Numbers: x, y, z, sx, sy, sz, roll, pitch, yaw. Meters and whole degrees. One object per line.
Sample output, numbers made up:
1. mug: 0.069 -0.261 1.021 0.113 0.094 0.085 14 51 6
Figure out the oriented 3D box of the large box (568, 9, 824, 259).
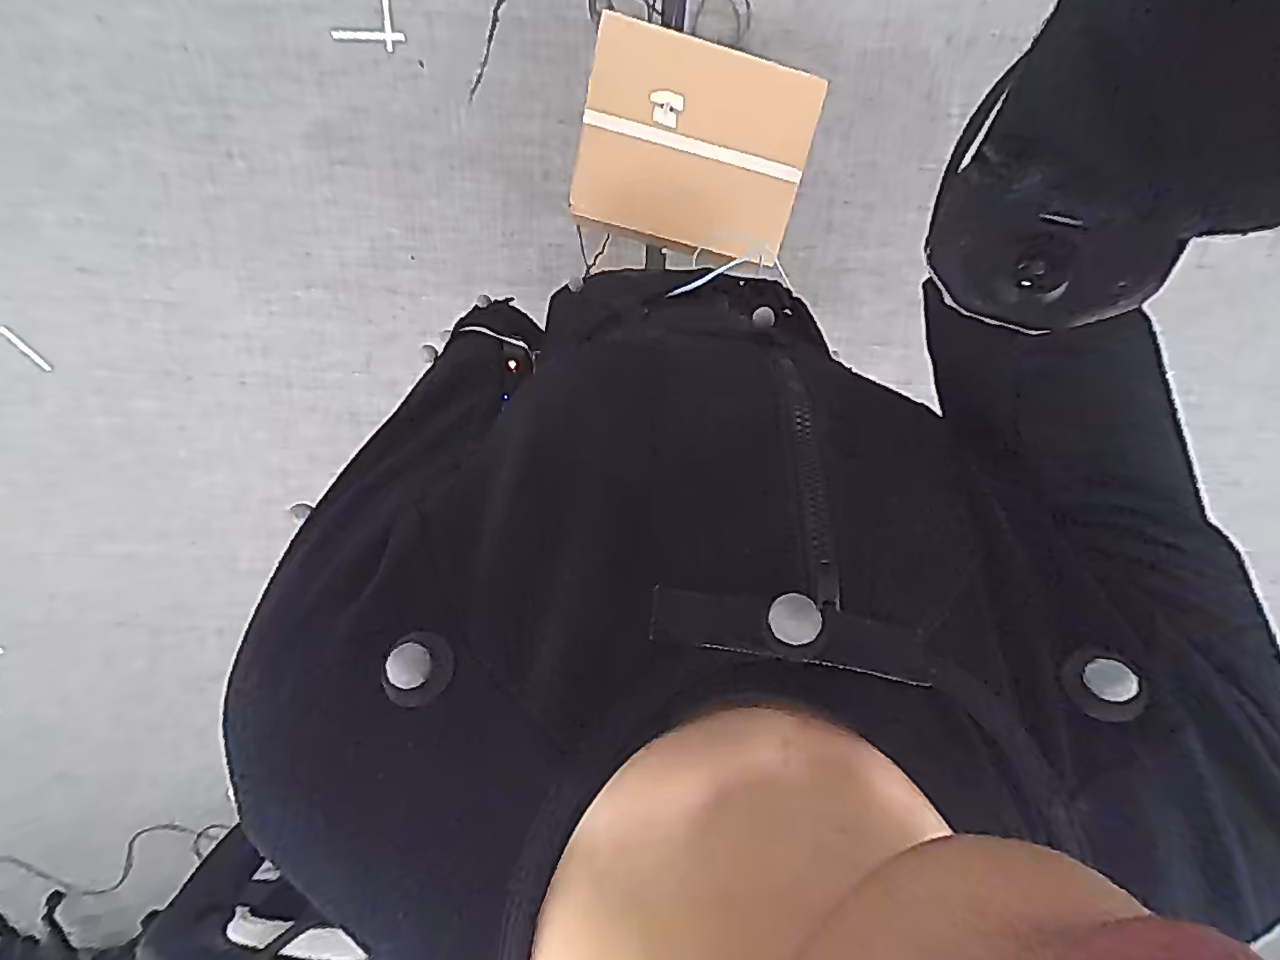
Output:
1. large box: 0.092 -0.657 1.106 0.408 0.320 0.320 13 109 -6
